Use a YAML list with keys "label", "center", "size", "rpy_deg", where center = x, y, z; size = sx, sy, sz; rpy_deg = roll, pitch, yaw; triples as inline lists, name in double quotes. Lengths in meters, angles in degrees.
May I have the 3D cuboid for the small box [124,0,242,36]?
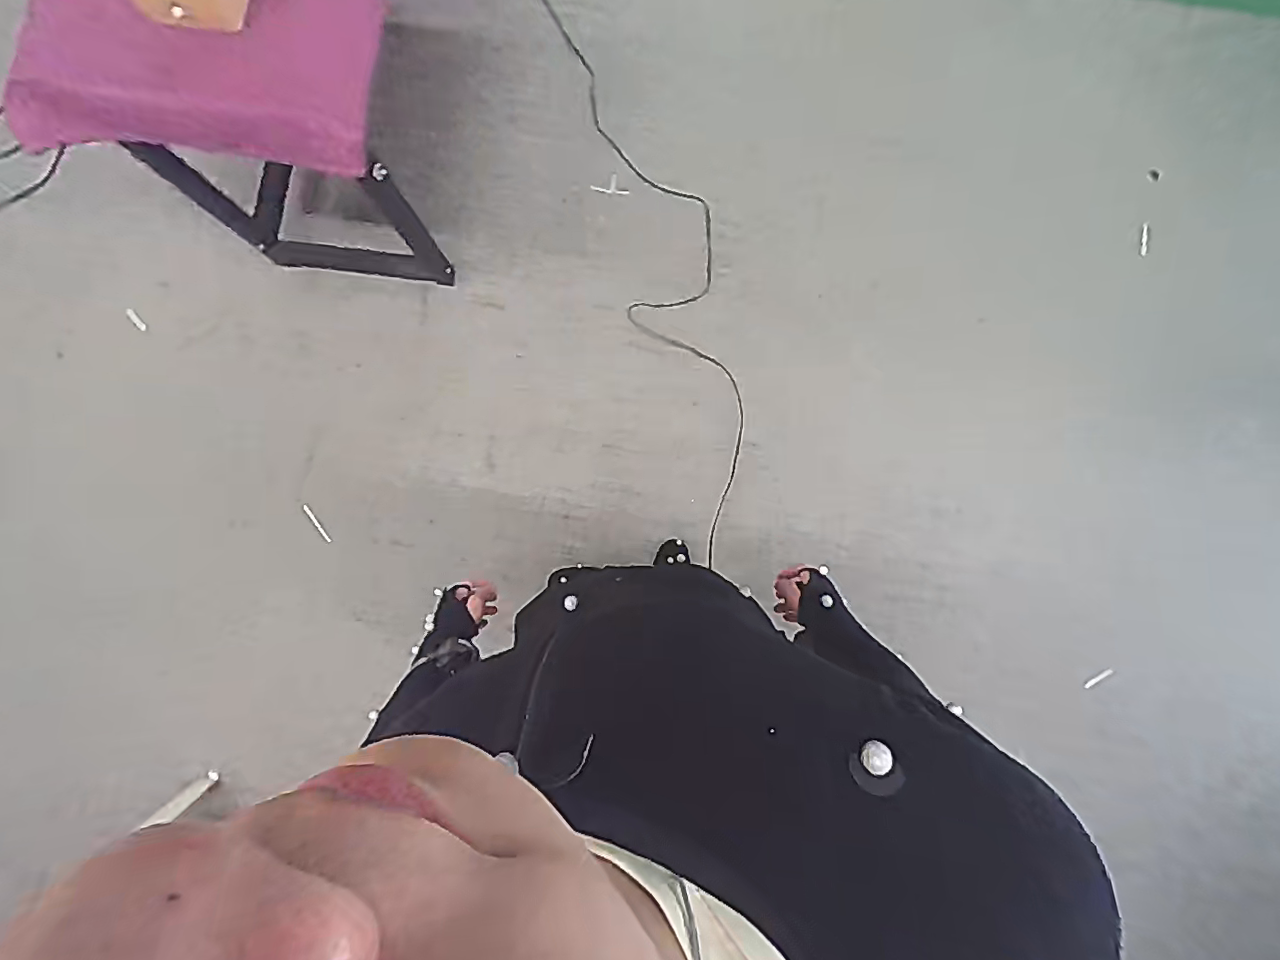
- label: "small box"
  center: [-0.828, -0.928, 0.944]
  size: [0.179, 0.176, 0.168]
  rpy_deg: [6, 83, 0]
